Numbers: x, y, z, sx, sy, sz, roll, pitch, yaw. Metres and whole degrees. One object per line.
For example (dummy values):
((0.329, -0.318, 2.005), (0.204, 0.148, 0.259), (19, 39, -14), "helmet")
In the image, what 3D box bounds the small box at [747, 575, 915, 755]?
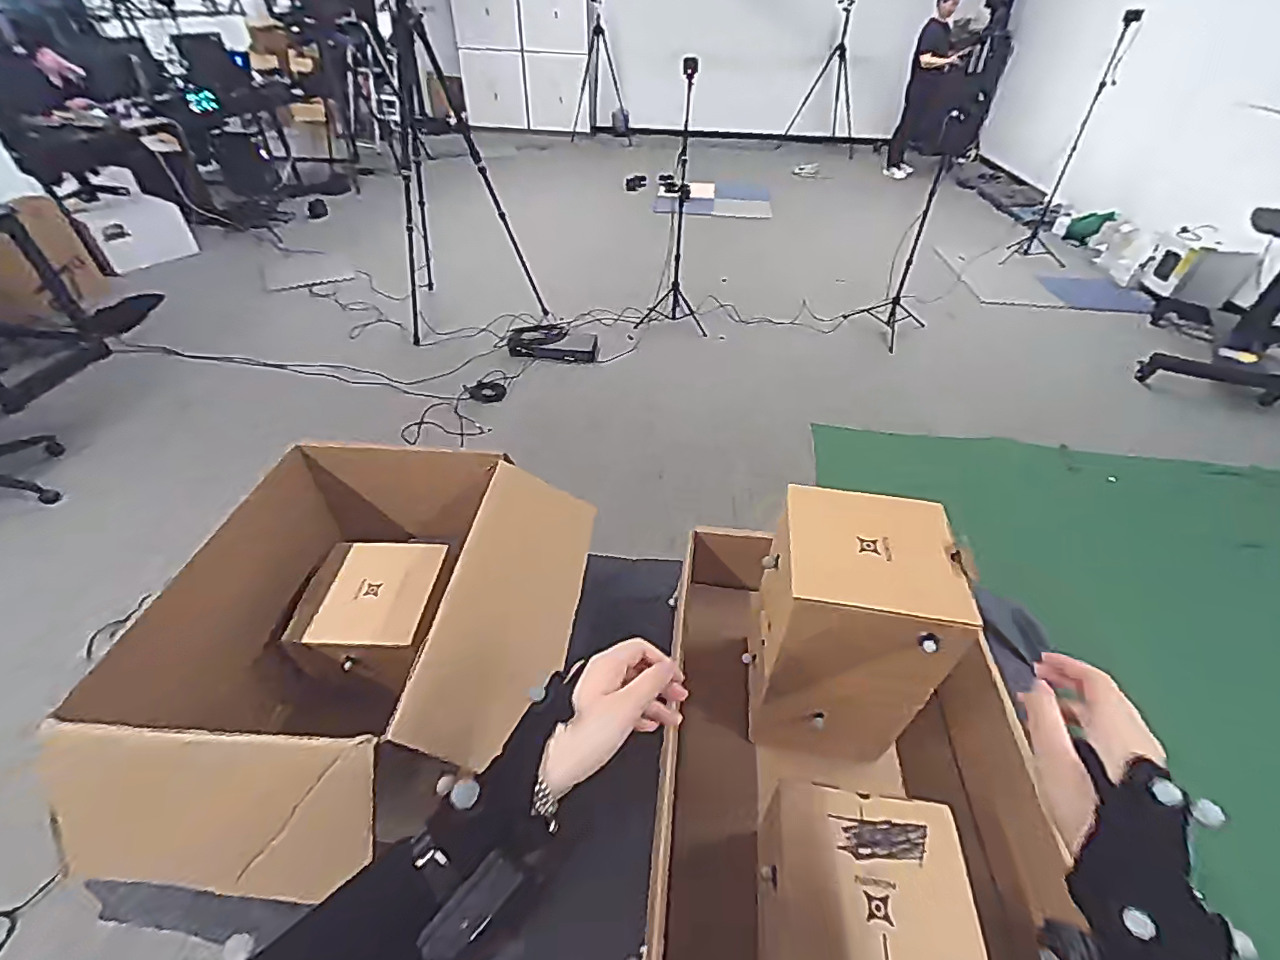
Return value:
((0.241, 0.252, 0.734), (0.179, 0.176, 0.168), (5, 44, 6), "small box")

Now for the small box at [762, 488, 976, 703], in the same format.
((0.240, 0.133, 0.621), (0.179, 0.176, 0.168), (8, 43, 6), "small box")
